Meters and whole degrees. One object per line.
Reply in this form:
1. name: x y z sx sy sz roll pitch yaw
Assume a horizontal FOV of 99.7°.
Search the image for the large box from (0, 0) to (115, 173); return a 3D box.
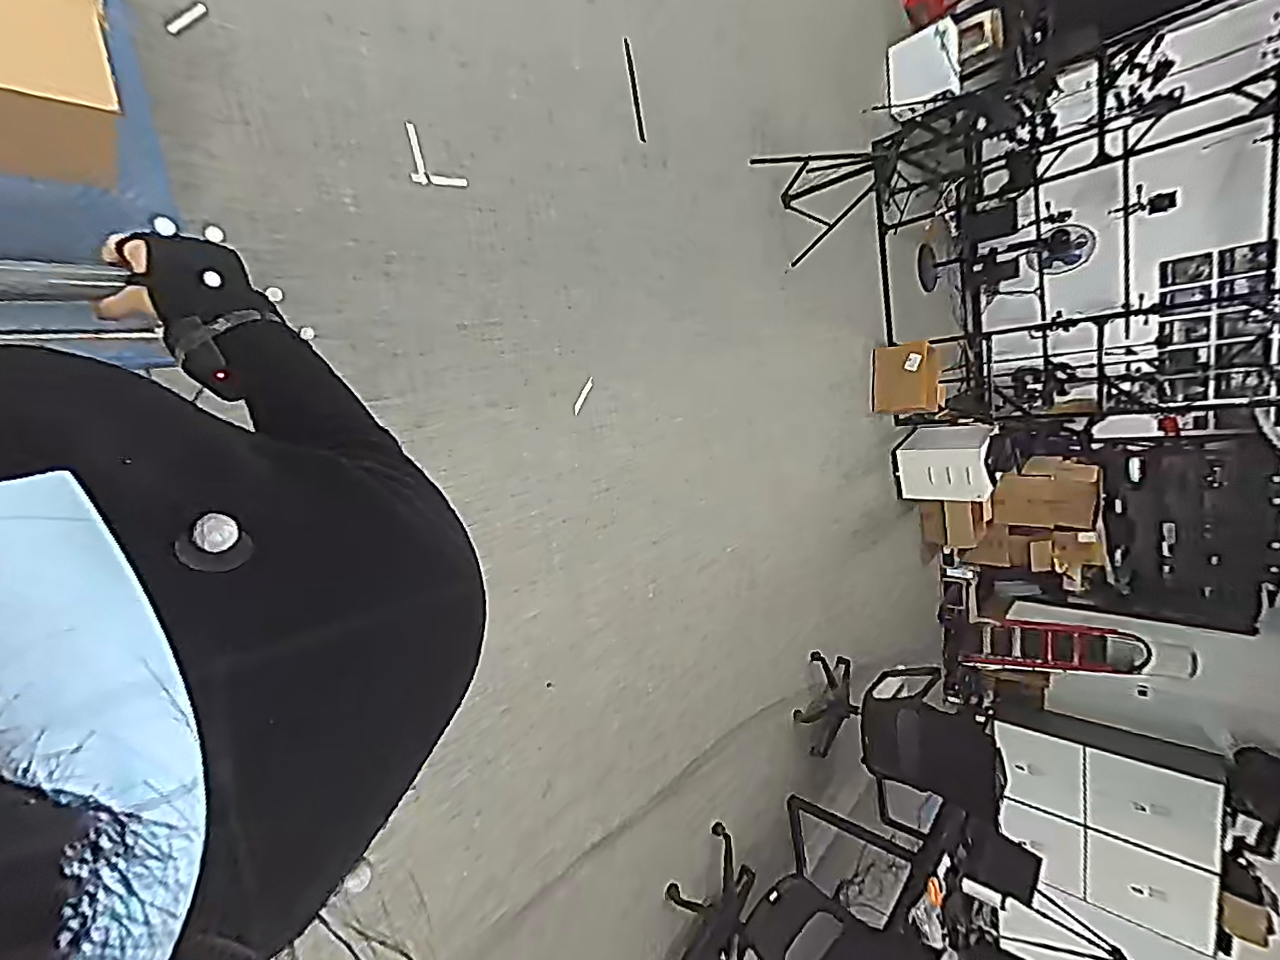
1. large box: -1.008 -0.653 0.713 0.408 0.320 0.320 -15 101 -43
